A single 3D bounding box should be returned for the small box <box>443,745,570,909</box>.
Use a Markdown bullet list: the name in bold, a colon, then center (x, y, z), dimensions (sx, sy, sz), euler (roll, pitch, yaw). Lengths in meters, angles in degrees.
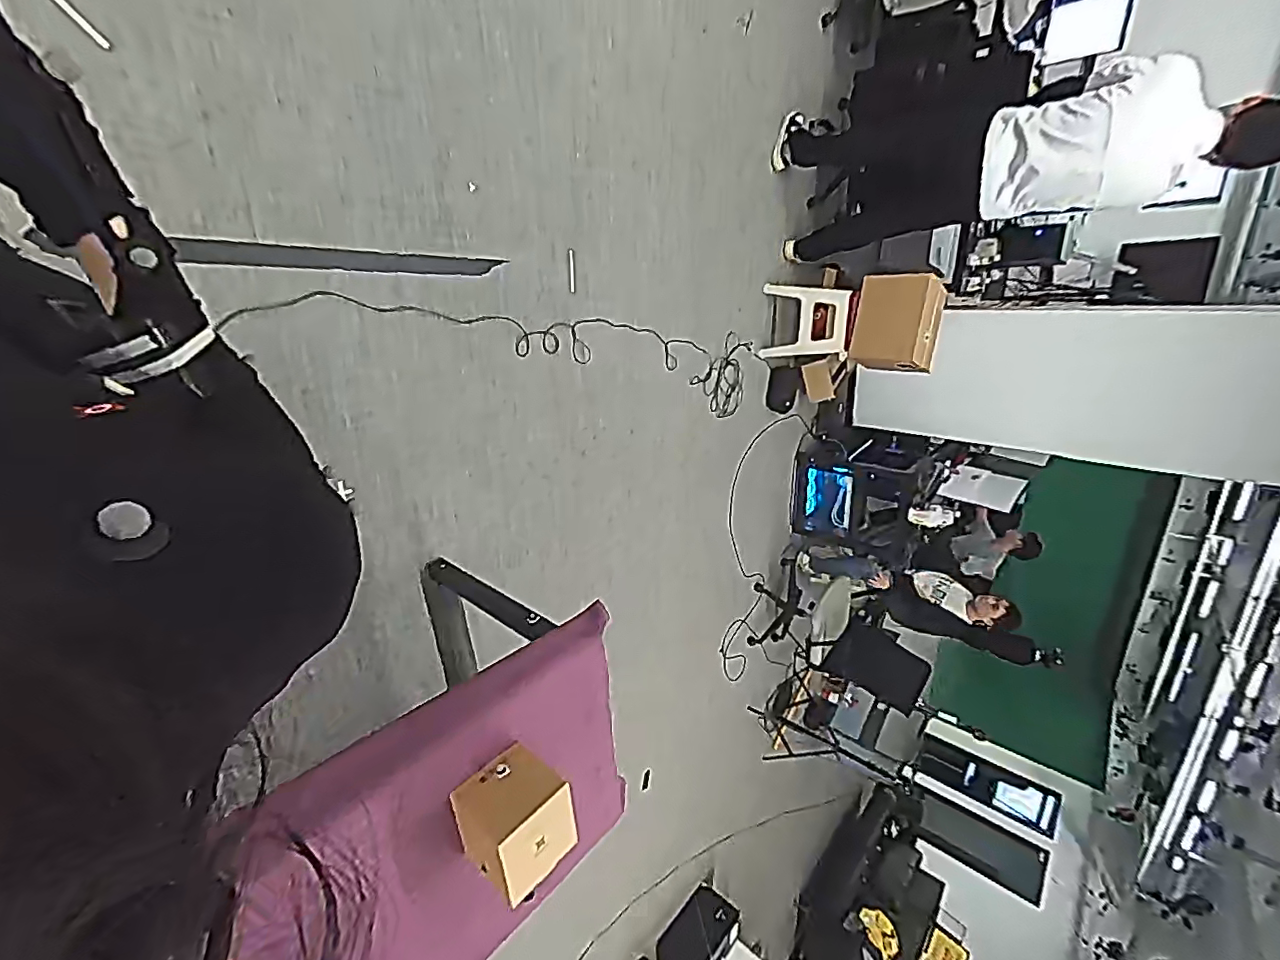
- **small box**: center (-0.262, 0.671, 1.068), dimensions (0.168, 0.176, 0.179), euler (-27, 120, -44)
